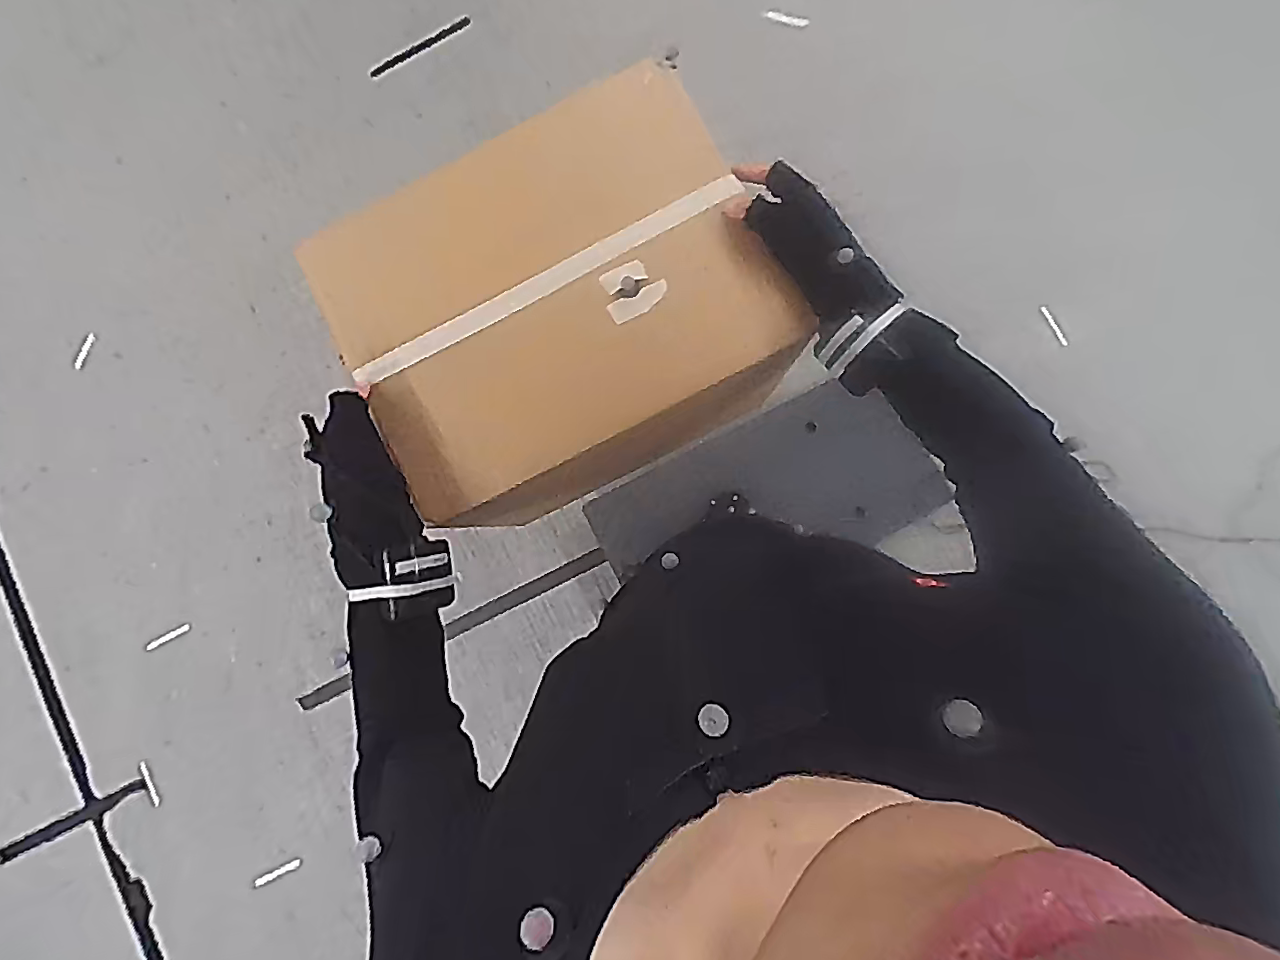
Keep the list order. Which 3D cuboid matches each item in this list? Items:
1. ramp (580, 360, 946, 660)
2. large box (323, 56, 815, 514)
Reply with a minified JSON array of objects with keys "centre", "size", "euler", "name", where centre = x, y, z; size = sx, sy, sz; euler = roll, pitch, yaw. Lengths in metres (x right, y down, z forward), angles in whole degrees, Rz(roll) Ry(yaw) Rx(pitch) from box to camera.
[{"centre":[0.375,0.053,1.569],"size":[0.991,0.206,0.509],"euler":[-30,83,0],"name":"ramp"},{"centre":[-0.070,-0.184,0.669],"size":[0.408,0.320,0.320],"euler":[-26,85,0],"name":"large box"}]
